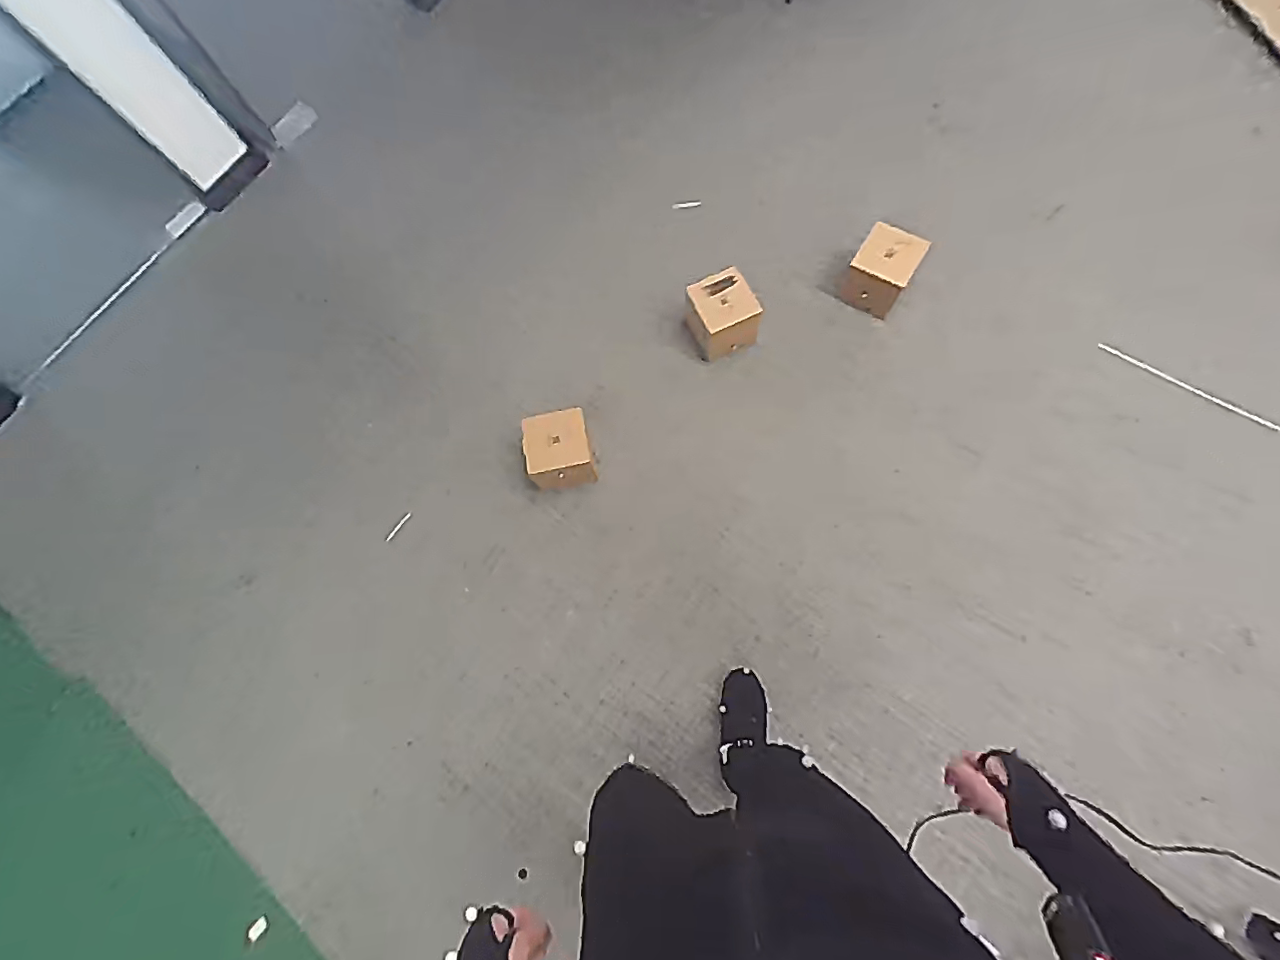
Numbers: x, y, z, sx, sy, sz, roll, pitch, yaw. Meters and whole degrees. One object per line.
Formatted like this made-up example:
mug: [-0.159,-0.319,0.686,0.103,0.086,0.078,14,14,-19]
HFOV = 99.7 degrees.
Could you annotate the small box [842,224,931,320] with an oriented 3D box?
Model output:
small box: [0.726,-0.614,1.615,0.168,0.176,0.179,31,79,13]
